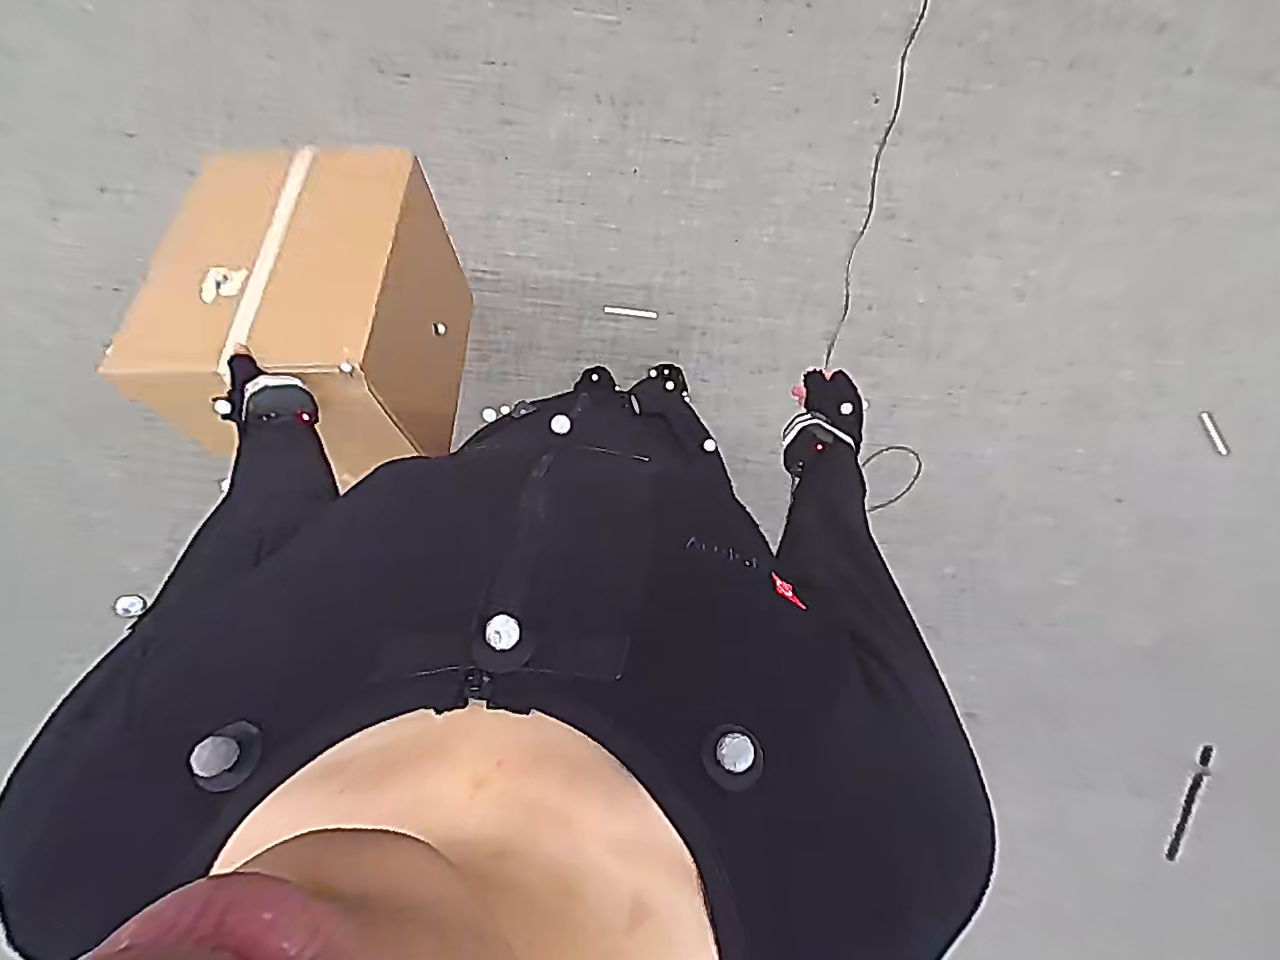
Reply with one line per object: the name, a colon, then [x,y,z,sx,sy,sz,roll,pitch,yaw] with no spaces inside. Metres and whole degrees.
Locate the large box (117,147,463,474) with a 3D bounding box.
large box: [-0.492,-0.255,0.868,0.320,0.320,0.408,-3,67,1]
